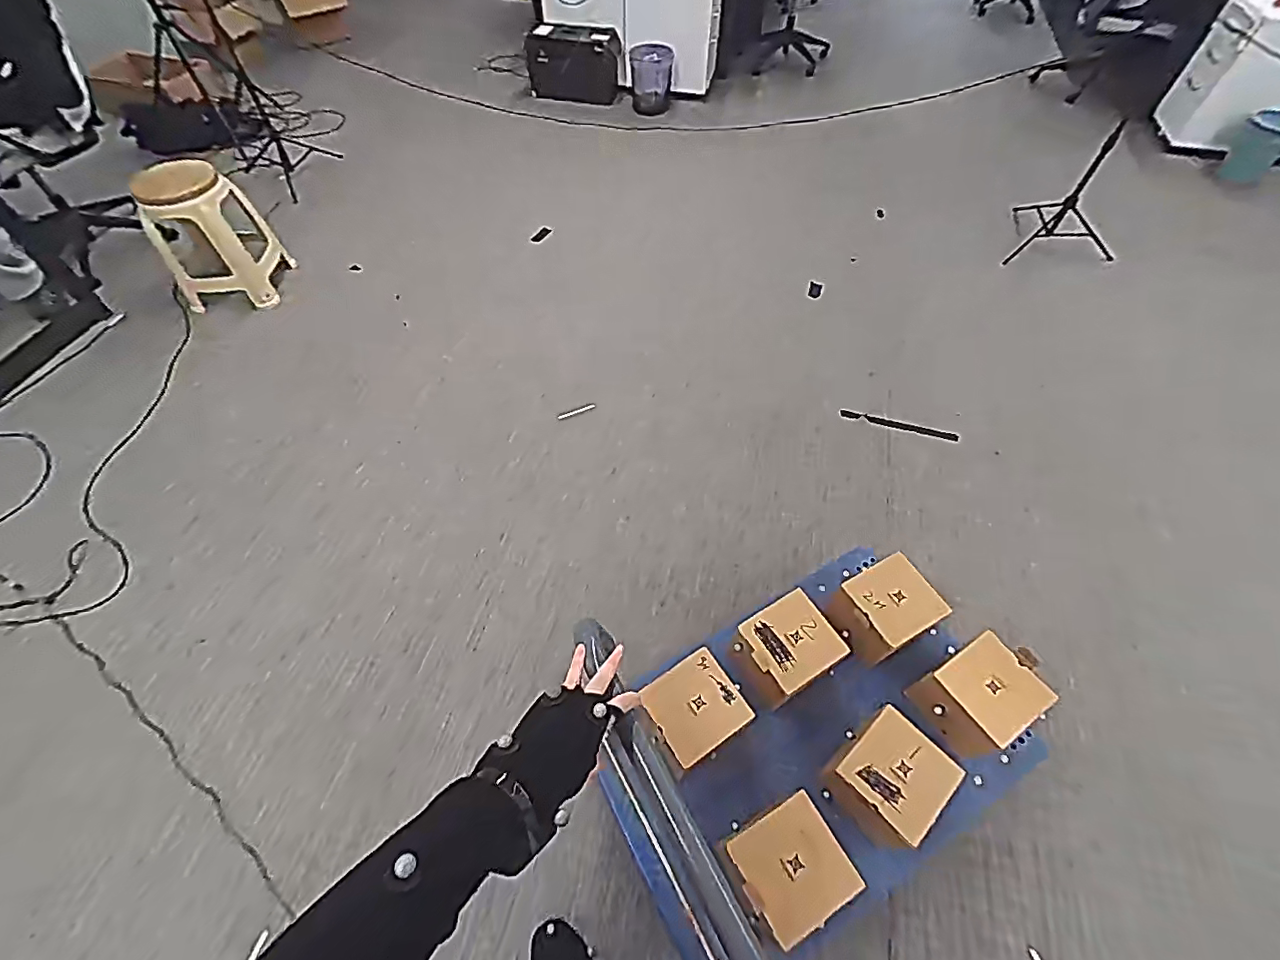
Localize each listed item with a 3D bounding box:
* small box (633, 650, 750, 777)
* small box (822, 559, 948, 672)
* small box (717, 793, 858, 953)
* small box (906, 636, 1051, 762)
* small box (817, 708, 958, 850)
[{"bbox_3d":[0.102,0.490,1.124,0.179,0.176,0.168,-28,61,-18],"label":"small box"},{"bbox_3d":[0.553,0.315,1.248,0.179,0.176,0.168,-24,58,-15],"label":"small box"},{"bbox_3d":[0.253,0.703,0.981,0.179,0.176,0.168,-24,60,-17],"label":"small box"},{"bbox_3d":[0.699,0.467,1.145,0.179,0.176,0.168,-27,60,-18],"label":"small box"},{"bbox_3d":[0.470,0.589,1.060,0.179,0.176,0.168,-36,63,-23],"label":"small box"}]
